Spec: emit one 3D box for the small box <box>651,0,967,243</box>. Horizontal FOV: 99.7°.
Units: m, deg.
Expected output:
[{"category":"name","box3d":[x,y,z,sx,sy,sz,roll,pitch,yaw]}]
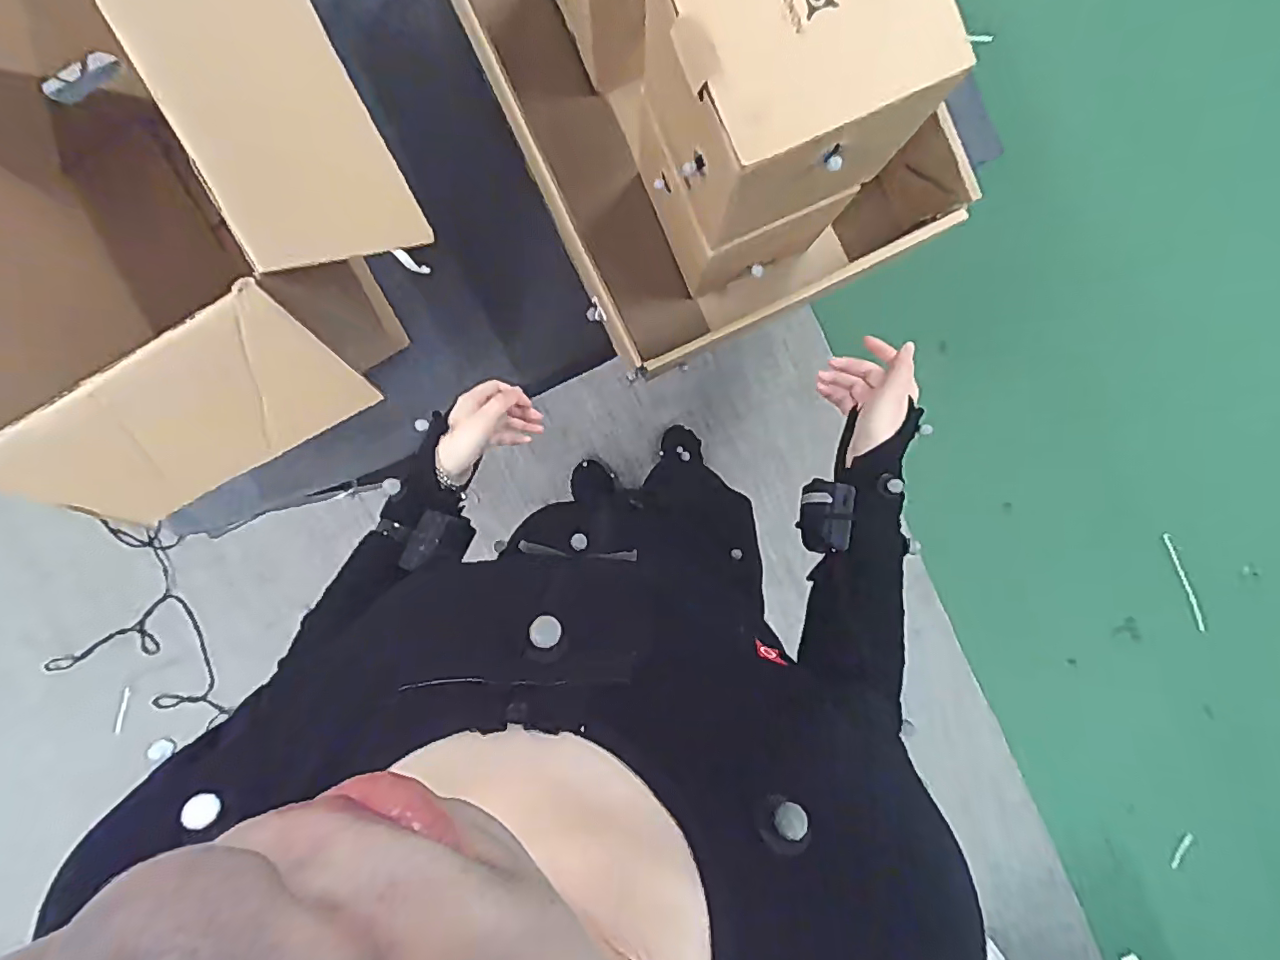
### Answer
[{"category":"small box","box3d":[0.116,-0.327,0.447,0.179,0.176,0.168,-24,96,1]}]
